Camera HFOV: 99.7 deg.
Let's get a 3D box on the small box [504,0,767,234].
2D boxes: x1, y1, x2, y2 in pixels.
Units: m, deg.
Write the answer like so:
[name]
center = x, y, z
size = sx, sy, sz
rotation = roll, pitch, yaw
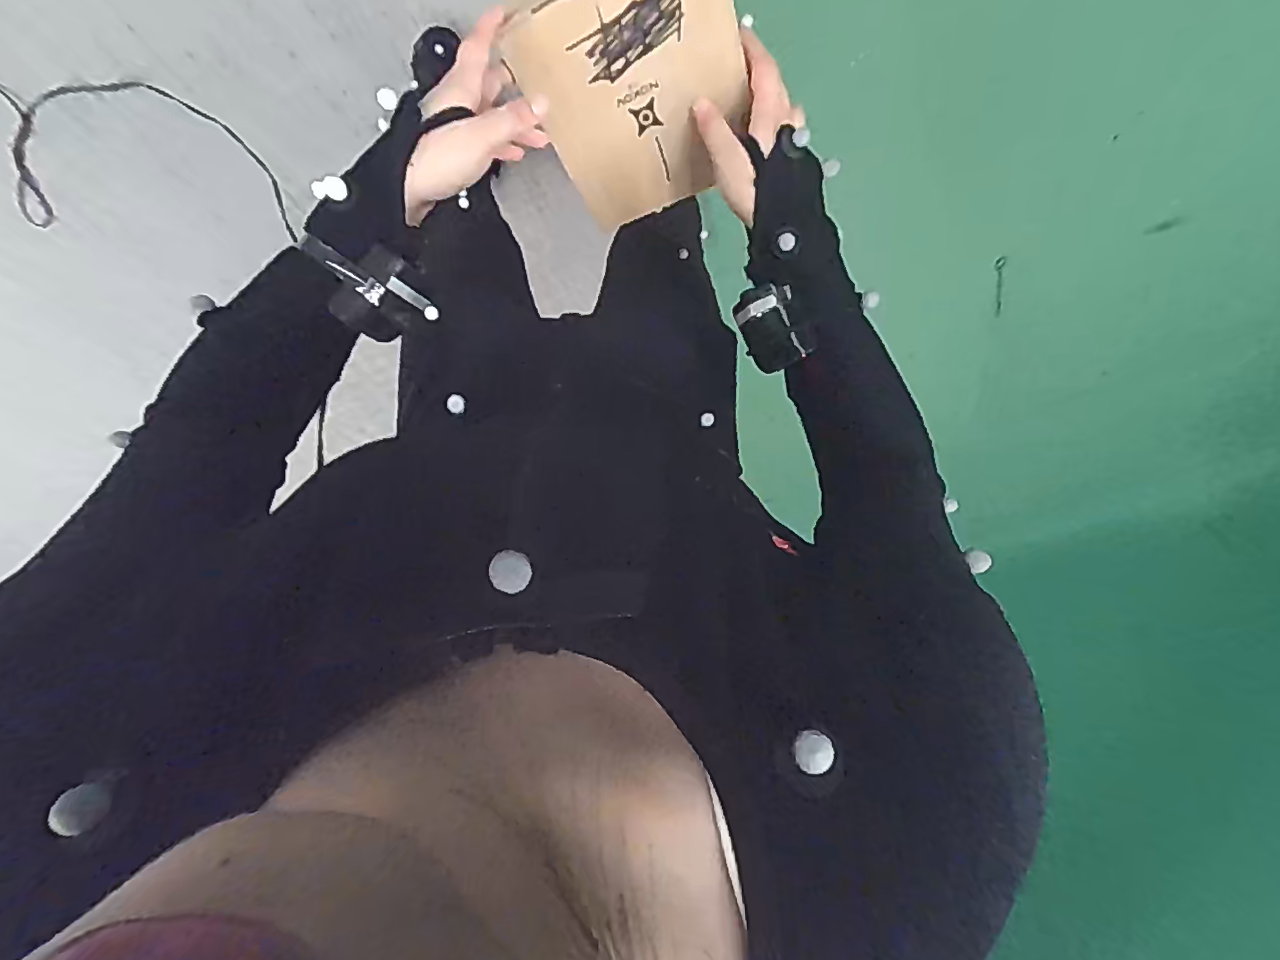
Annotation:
[small box]
center = 0.002, -0.367, 0.476
size = 0.168, 0.176, 0.179
rotation = -14, 148, 19
